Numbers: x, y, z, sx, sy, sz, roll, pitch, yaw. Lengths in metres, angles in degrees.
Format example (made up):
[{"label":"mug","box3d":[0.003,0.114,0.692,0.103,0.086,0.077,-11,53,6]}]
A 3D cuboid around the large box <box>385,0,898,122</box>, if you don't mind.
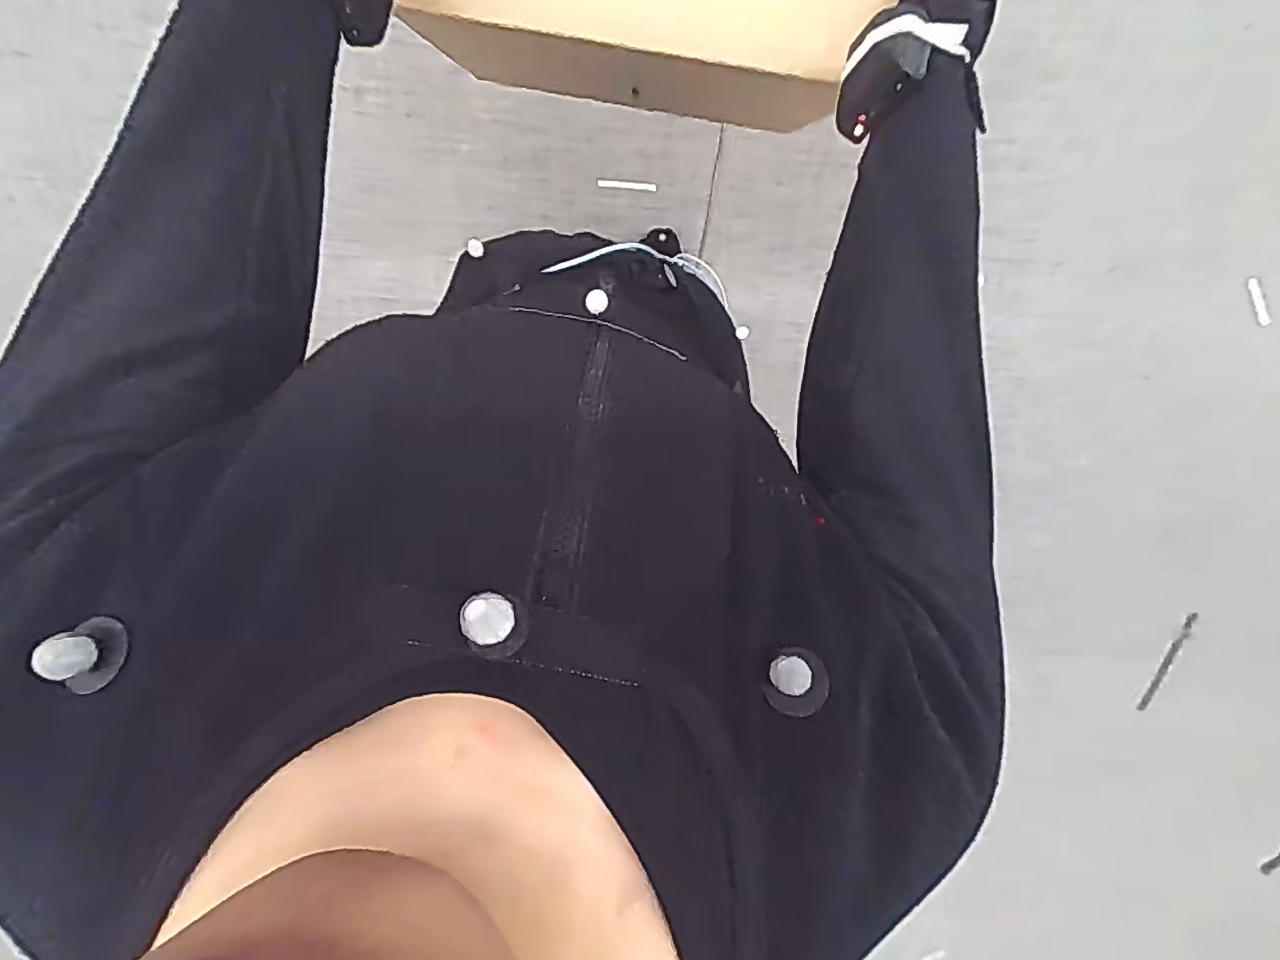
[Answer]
[{"label":"large box","box3d":[0.019,-0.549,0.490,0.408,0.320,0.320,8,116,-3]}]
